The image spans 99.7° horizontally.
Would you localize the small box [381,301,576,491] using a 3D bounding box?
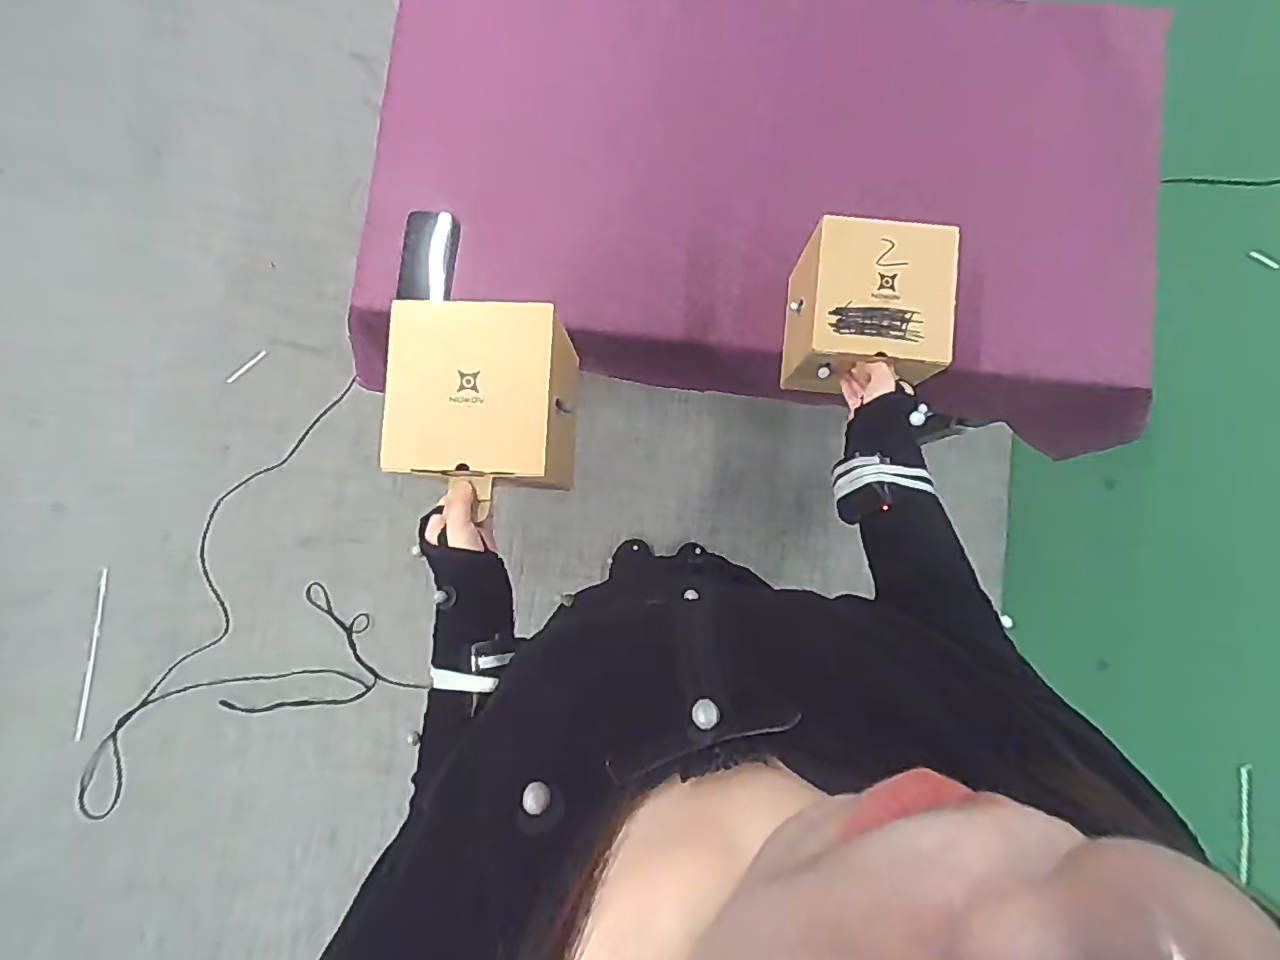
[{"bbox_3d":[-0.166,-0.083,0.611,0.168,0.176,0.179,2,86,1],"label":"small box"}]
